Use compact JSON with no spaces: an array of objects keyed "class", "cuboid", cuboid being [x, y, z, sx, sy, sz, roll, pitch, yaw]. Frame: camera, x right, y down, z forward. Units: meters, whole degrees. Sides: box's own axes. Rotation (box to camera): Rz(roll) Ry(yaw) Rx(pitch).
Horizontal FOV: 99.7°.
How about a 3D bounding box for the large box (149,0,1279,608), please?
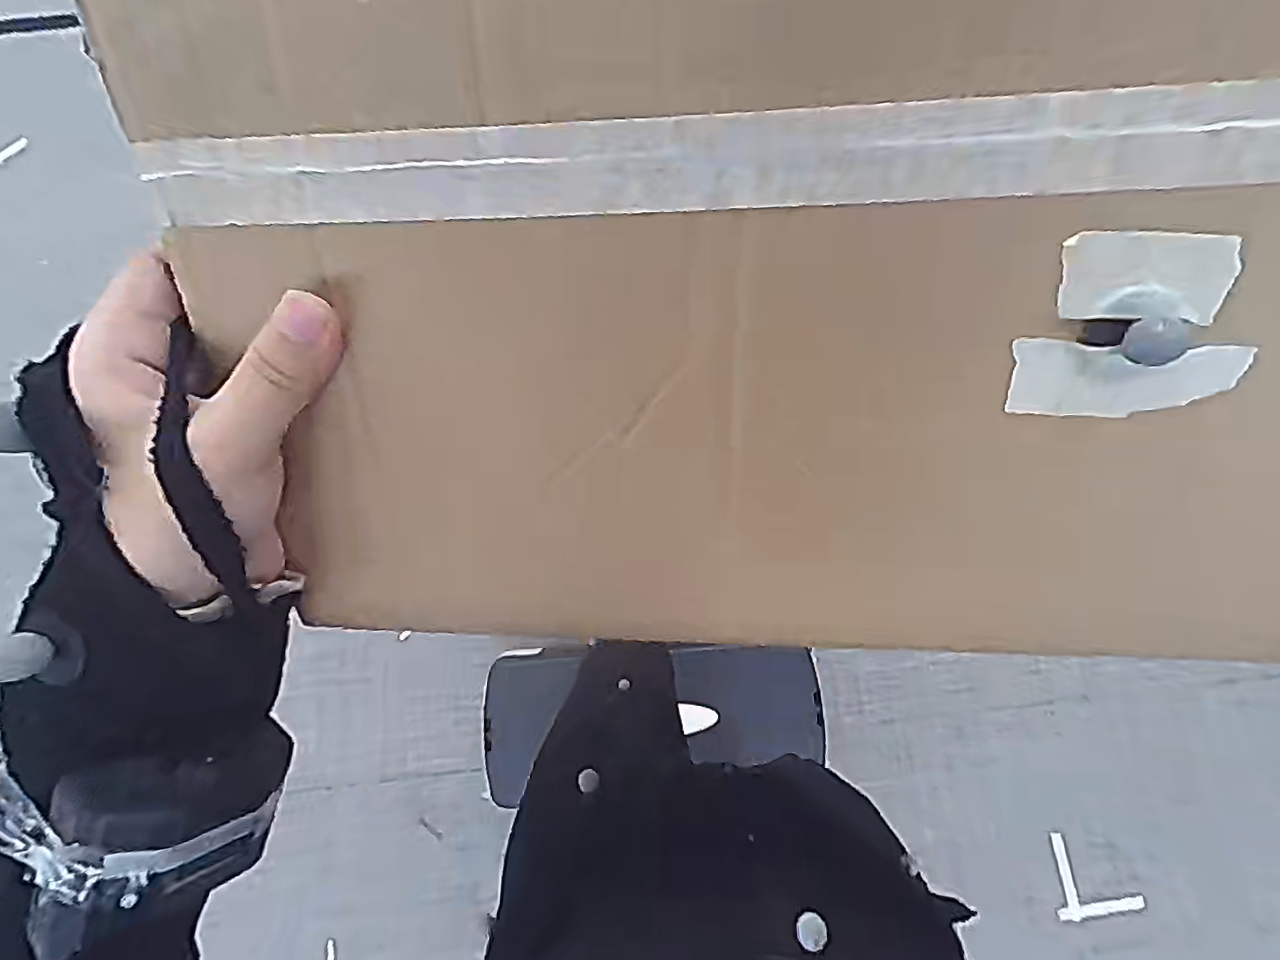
[{"class":"large box","cuboid":[0.072,-0.149,0.288,0.408,0.320,0.320,0,114,4]}]
